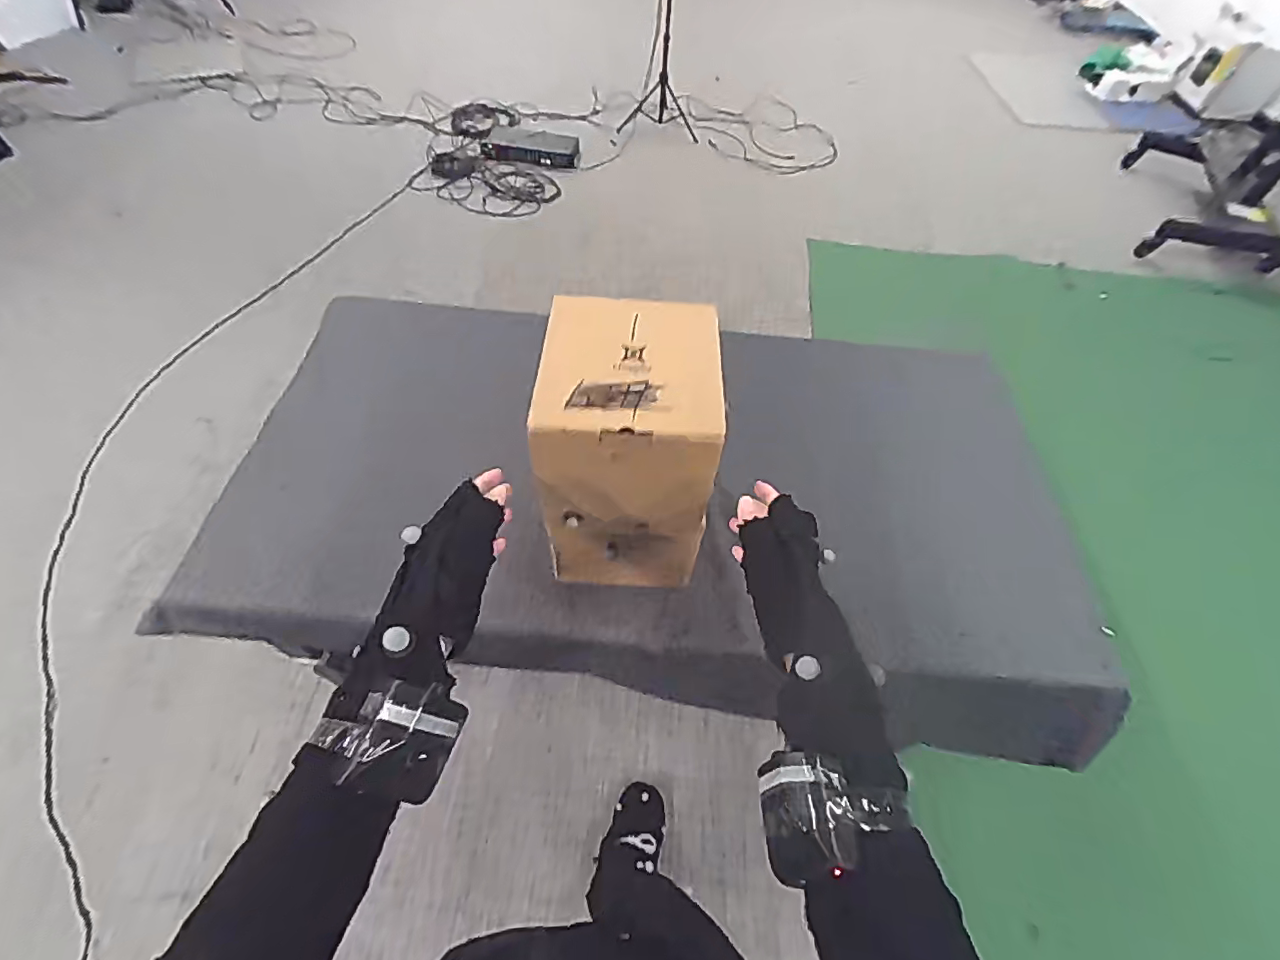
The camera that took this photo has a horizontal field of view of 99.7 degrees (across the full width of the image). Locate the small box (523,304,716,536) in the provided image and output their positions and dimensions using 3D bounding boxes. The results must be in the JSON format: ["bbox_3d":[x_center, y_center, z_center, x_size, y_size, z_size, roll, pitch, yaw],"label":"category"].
[{"bbox_3d":[-0.015,-0.057,0.563,0.168,0.176,0.179,3,53,-1],"label":"small box"}]

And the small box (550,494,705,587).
[{"bbox_3d":[-0.018,0.031,0.706,0.179,0.176,0.168,0,53,-4],"label":"small box"}]
